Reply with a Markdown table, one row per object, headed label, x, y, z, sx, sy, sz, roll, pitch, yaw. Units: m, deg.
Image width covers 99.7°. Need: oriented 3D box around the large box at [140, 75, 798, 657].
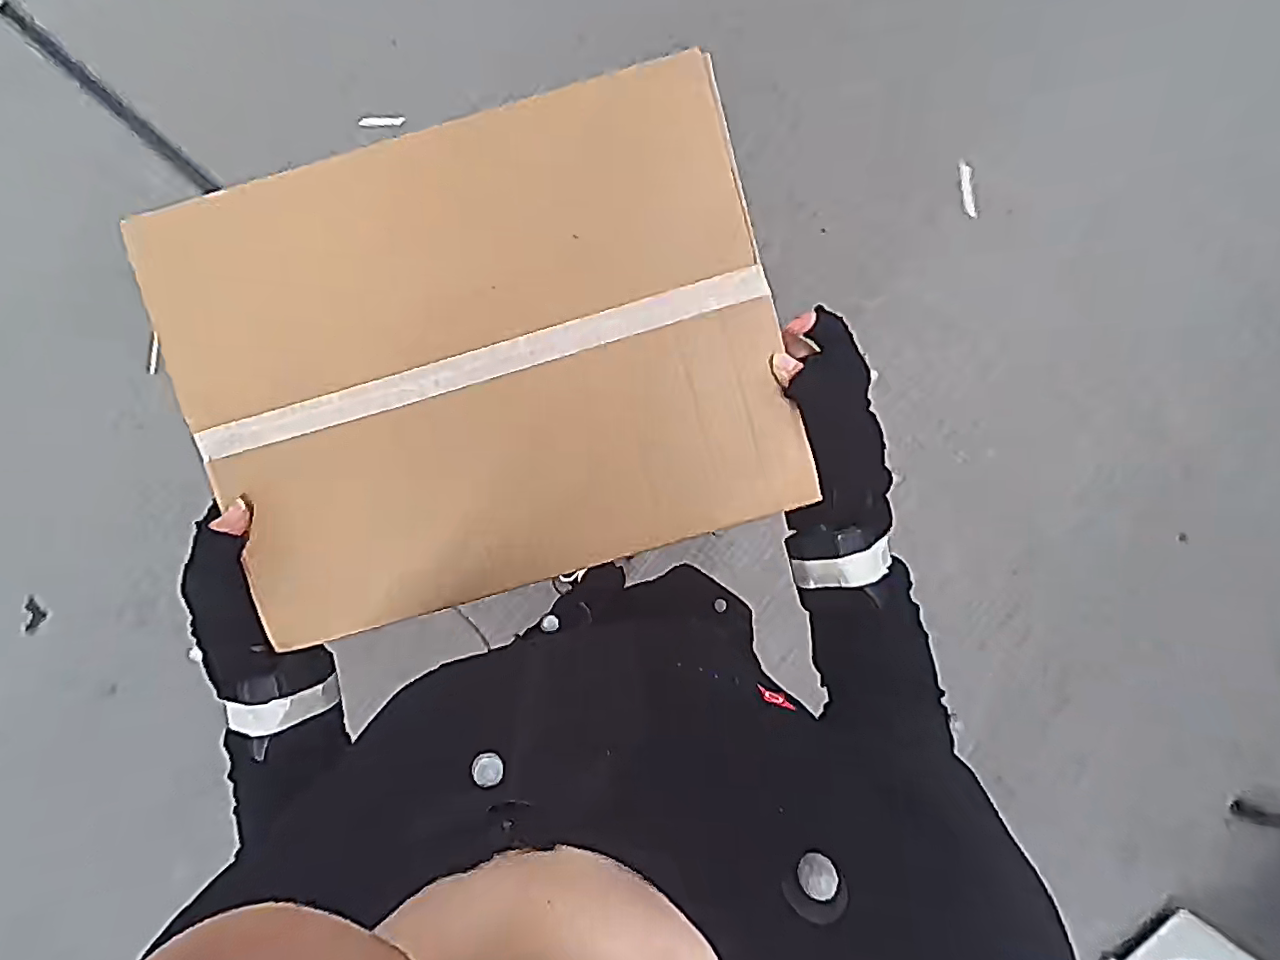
| label | x | y | z | sx | sy | sz | roll | pitch | yaw |
| --- | --- | --- | --- | --- | --- | --- | --- | --- | --- |
| large box | -0.116 | -0.086 | 0.532 | 0.408 | 0.320 | 0.320 | -17 | 94 | 2 |
